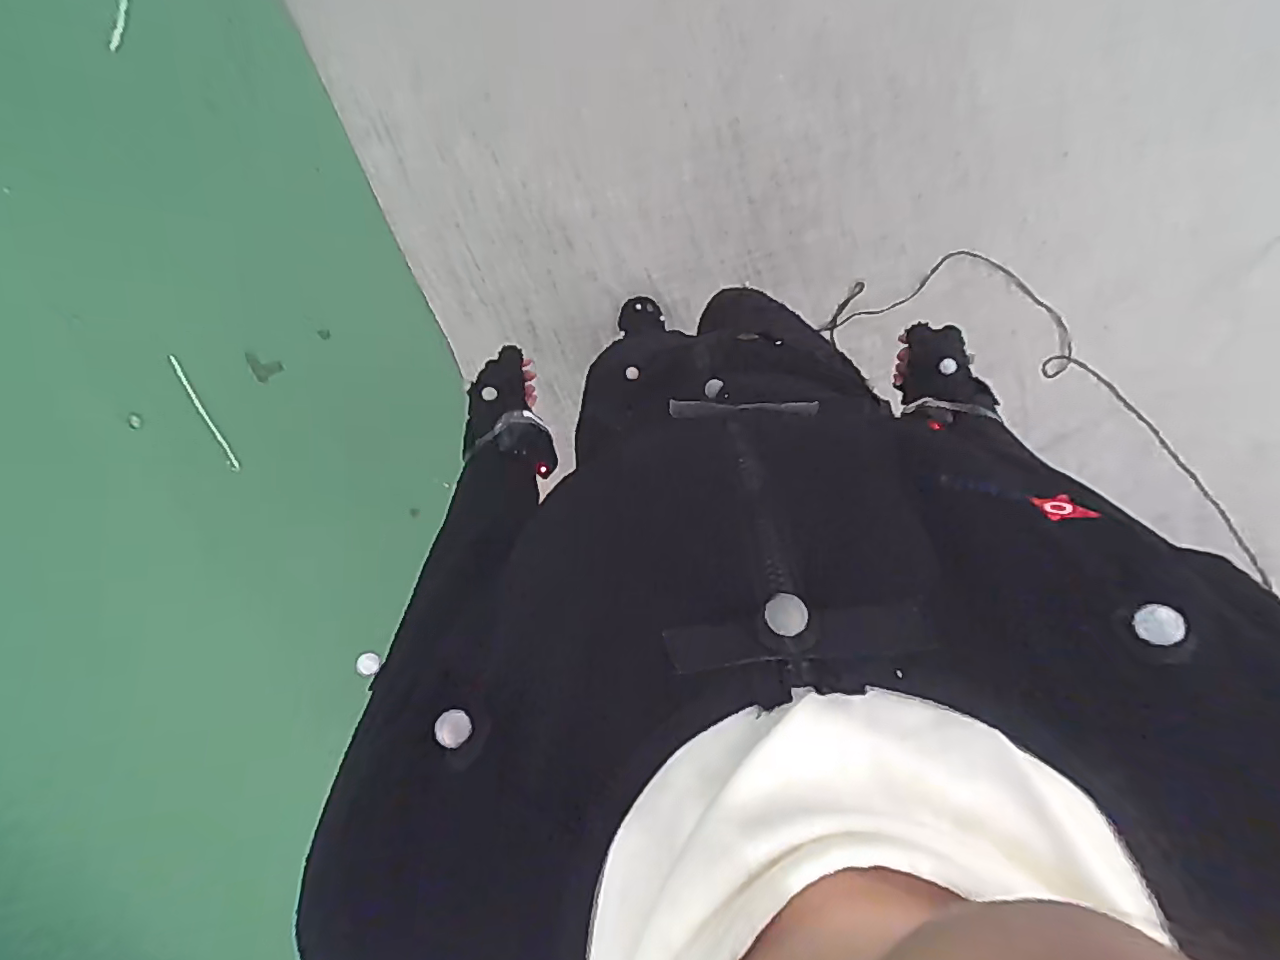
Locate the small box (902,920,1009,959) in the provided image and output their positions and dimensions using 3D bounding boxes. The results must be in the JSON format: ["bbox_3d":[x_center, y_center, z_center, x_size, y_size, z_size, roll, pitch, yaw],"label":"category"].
[{"bbox_3d":[0.589,0.924,0.941,0.168,0.176,0.179,-22,107,5],"label":"small box"}]
